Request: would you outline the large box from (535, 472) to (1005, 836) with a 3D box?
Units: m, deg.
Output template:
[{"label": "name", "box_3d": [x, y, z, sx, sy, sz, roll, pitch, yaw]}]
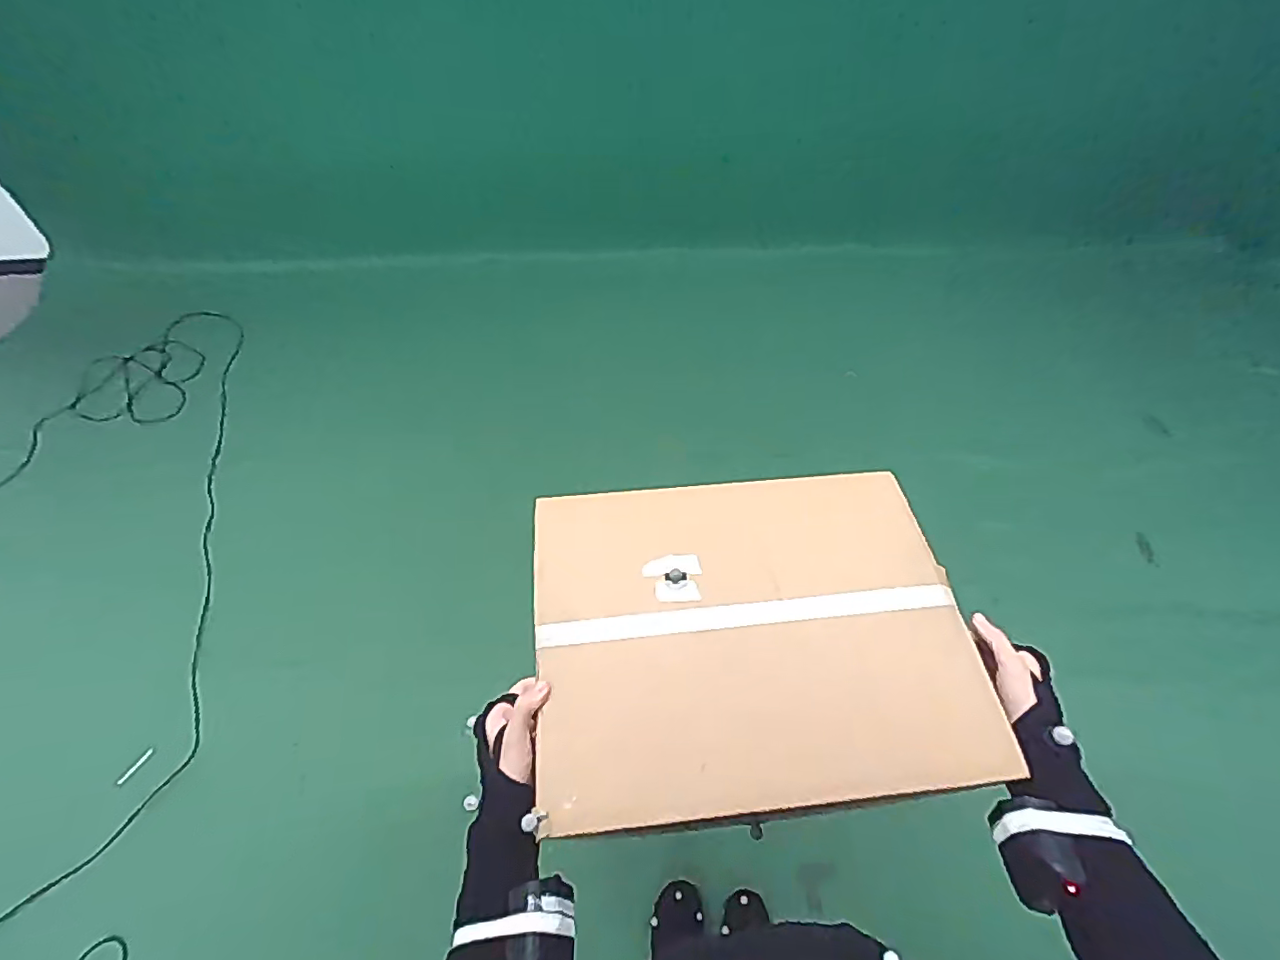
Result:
[{"label": "large box", "box_3d": [0.101, 0.218, 0.651, 0.408, 0.320, 0.320, -5, 56, -4]}]
